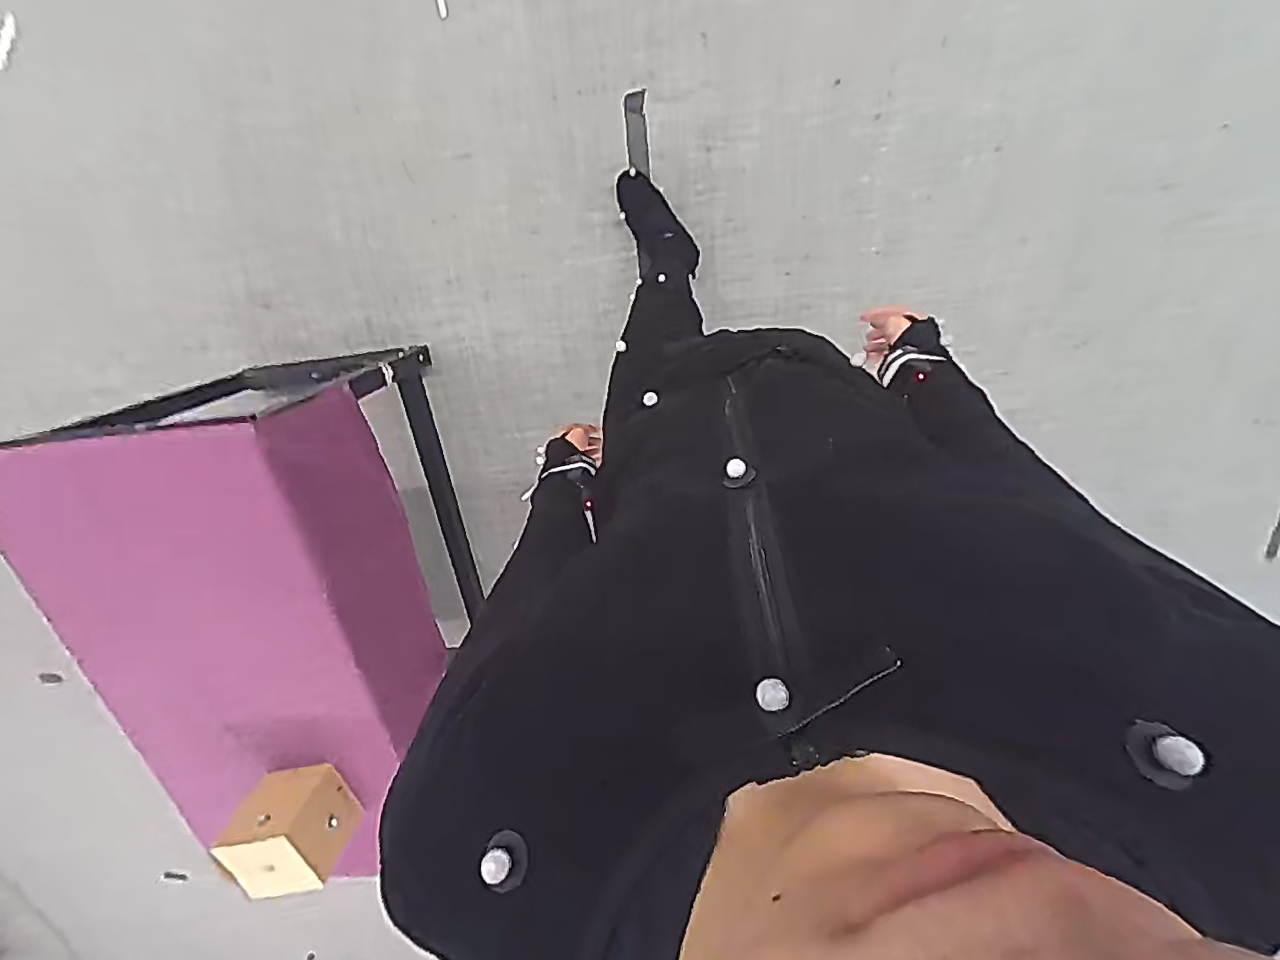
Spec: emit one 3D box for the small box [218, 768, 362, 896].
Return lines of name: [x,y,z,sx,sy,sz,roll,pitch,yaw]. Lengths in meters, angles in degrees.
small box: [-0.741,0.757,1.175,0.179,0.176,0.168,-13,112,9]
